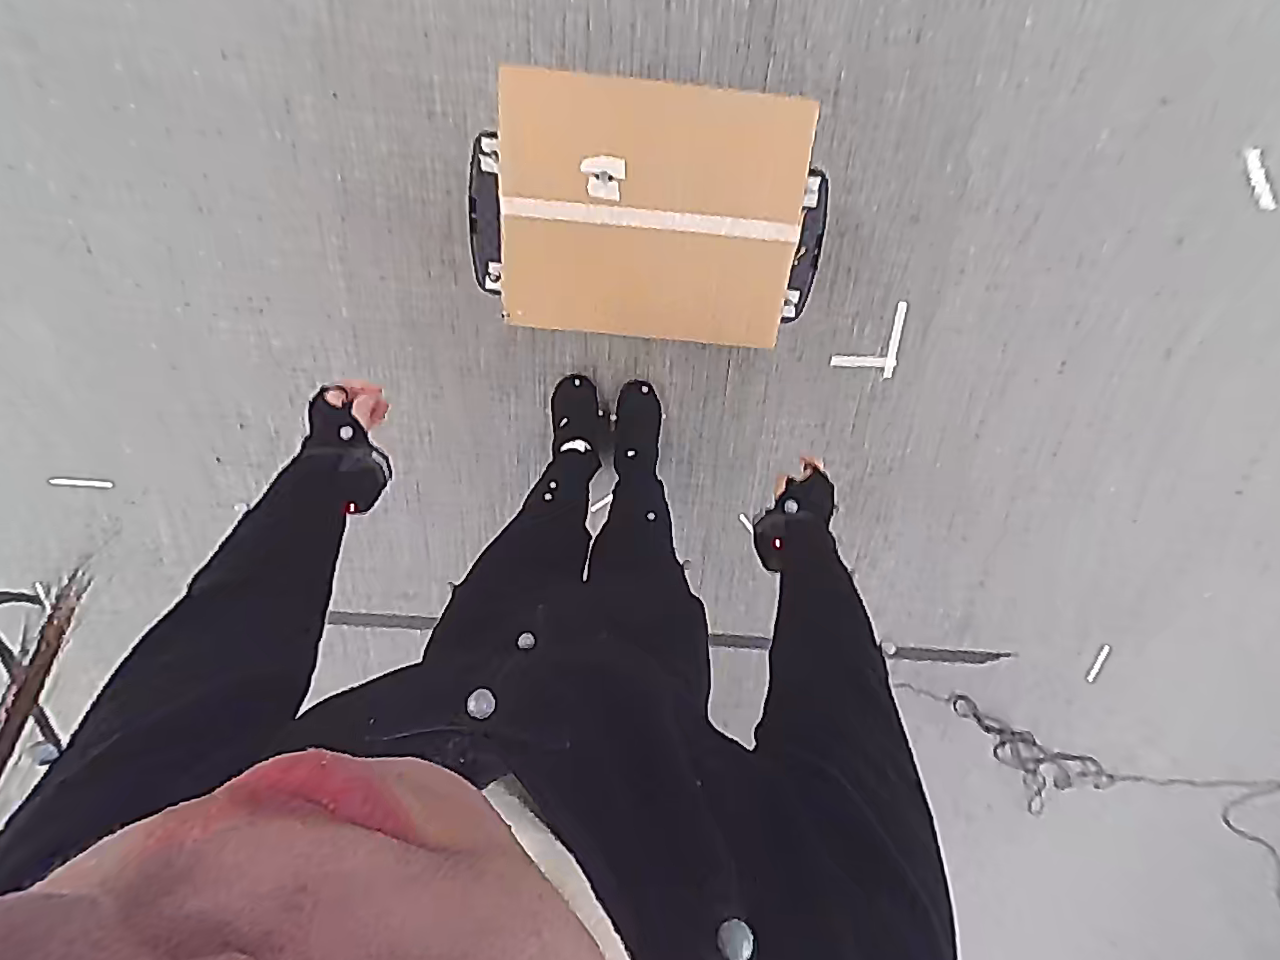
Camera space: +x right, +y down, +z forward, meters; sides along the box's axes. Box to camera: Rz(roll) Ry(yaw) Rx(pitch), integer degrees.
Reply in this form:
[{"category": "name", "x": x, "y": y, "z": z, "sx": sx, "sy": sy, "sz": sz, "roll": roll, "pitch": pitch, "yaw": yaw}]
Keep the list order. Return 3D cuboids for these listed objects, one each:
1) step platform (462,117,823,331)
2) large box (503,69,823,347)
[{"category": "step platform", "x": 0.002, "y": -0.490, "z": 1.083, "sx": 0.684, "sy": 0.204, "sz": 0.286, "roll": 10, "pitch": 113, "yaw": -4}, {"category": "large box", "x": 0.022, "y": -0.408, "z": 0.858, "sx": 0.408, "sy": 0.320, "sz": 0.320, "roll": 5, "pitch": 113, "yaw": -2}]
